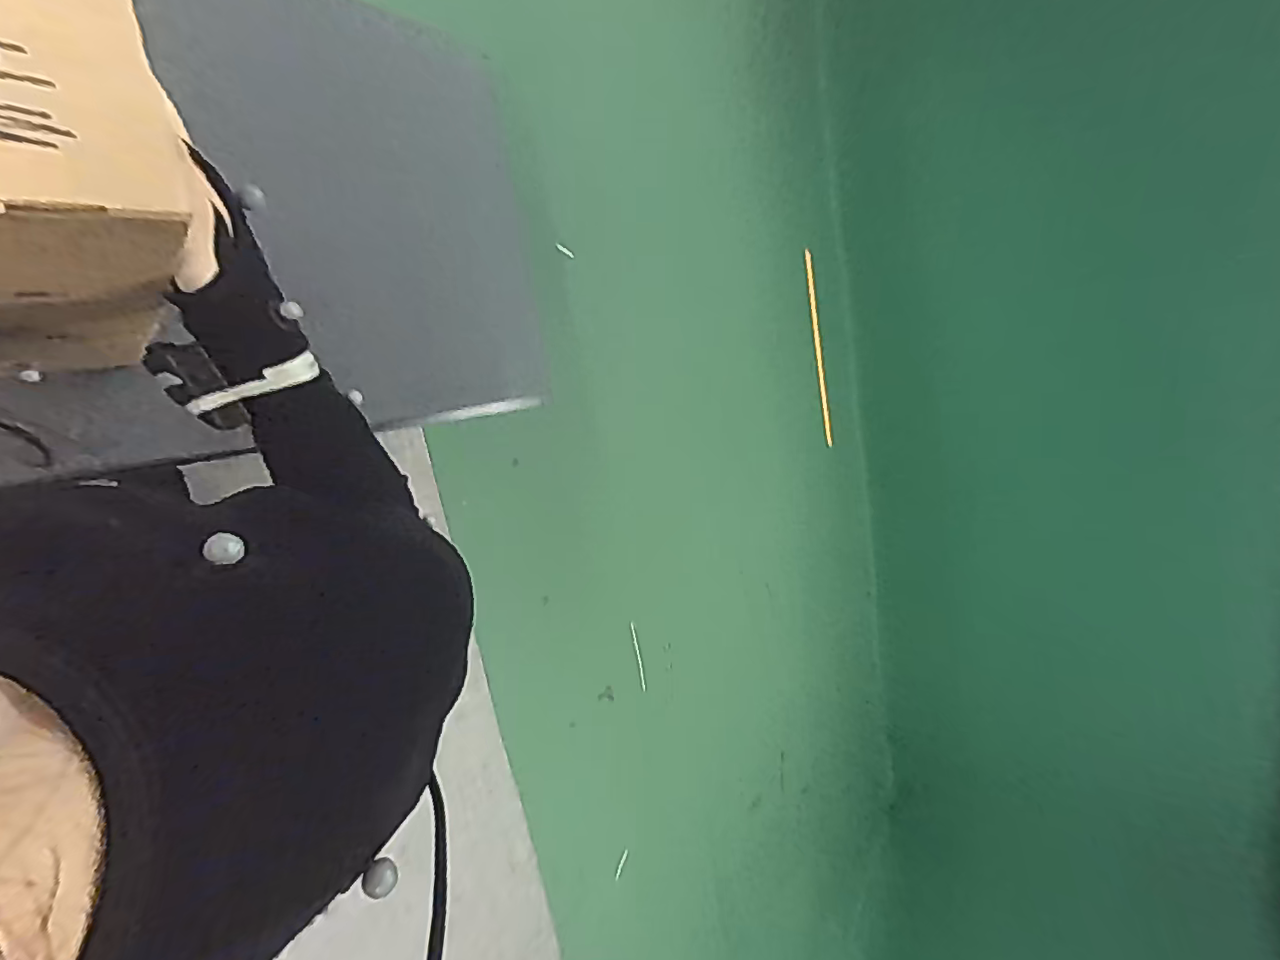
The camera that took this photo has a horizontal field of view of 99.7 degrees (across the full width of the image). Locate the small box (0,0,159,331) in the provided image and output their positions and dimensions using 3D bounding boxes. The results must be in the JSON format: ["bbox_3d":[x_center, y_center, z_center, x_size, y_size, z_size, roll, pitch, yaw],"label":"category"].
[{"bbox_3d":[-0.449,-0.197,0.343,0.168,0.176,0.179,-22,107,-46],"label":"small box"}]

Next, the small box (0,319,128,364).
[{"bbox_3d":[-0.571,-0.196,0.450,0.168,0.176,0.179,-21,106,-45],"label":"small box"}]
